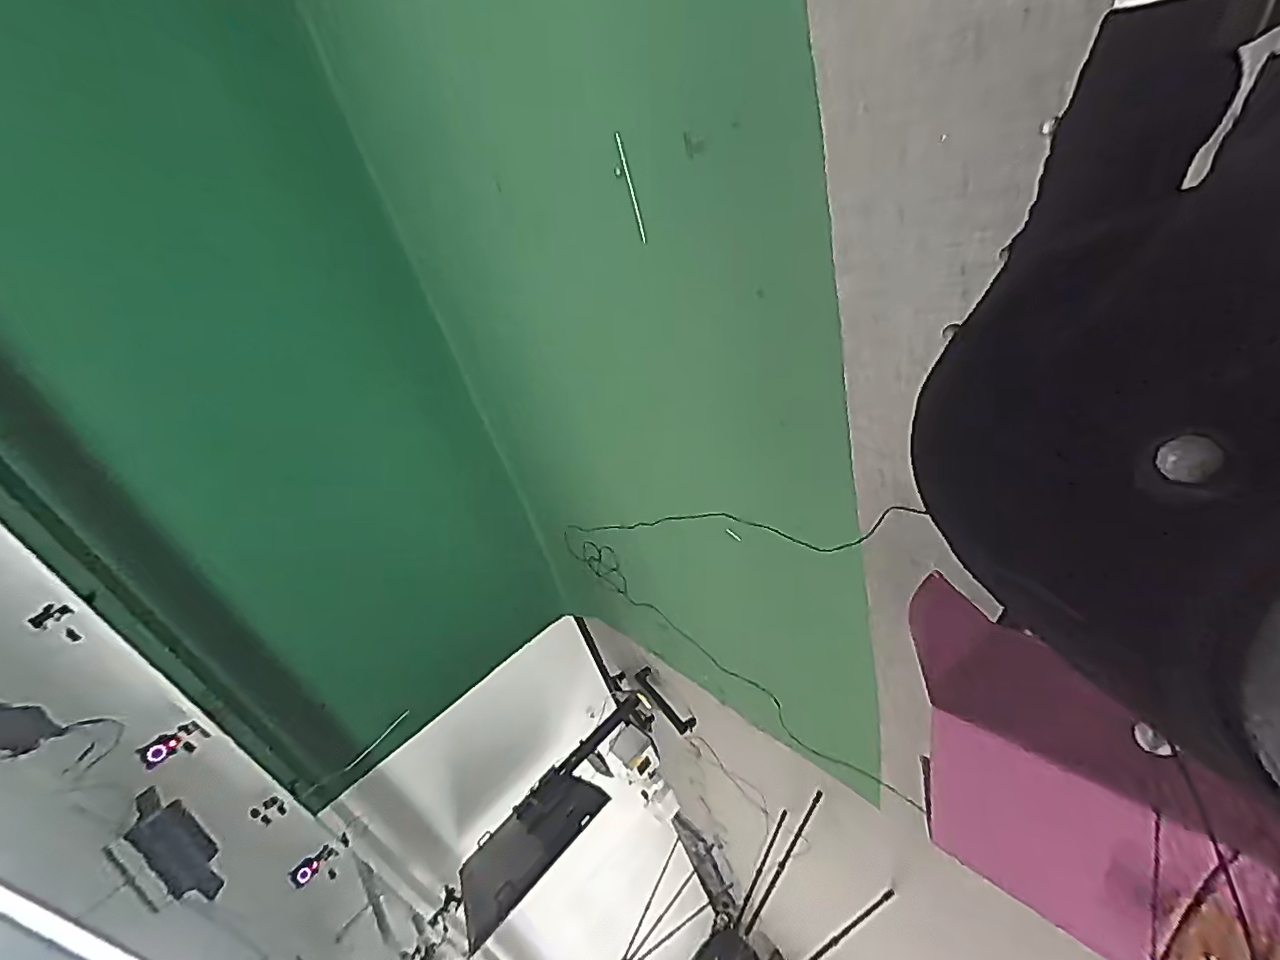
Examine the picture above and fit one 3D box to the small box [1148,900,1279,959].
[{"bbox_3d":[0.966,0.844,0.888,0.179,0.176,0.168,20,137,44],"label":"small box"}]
